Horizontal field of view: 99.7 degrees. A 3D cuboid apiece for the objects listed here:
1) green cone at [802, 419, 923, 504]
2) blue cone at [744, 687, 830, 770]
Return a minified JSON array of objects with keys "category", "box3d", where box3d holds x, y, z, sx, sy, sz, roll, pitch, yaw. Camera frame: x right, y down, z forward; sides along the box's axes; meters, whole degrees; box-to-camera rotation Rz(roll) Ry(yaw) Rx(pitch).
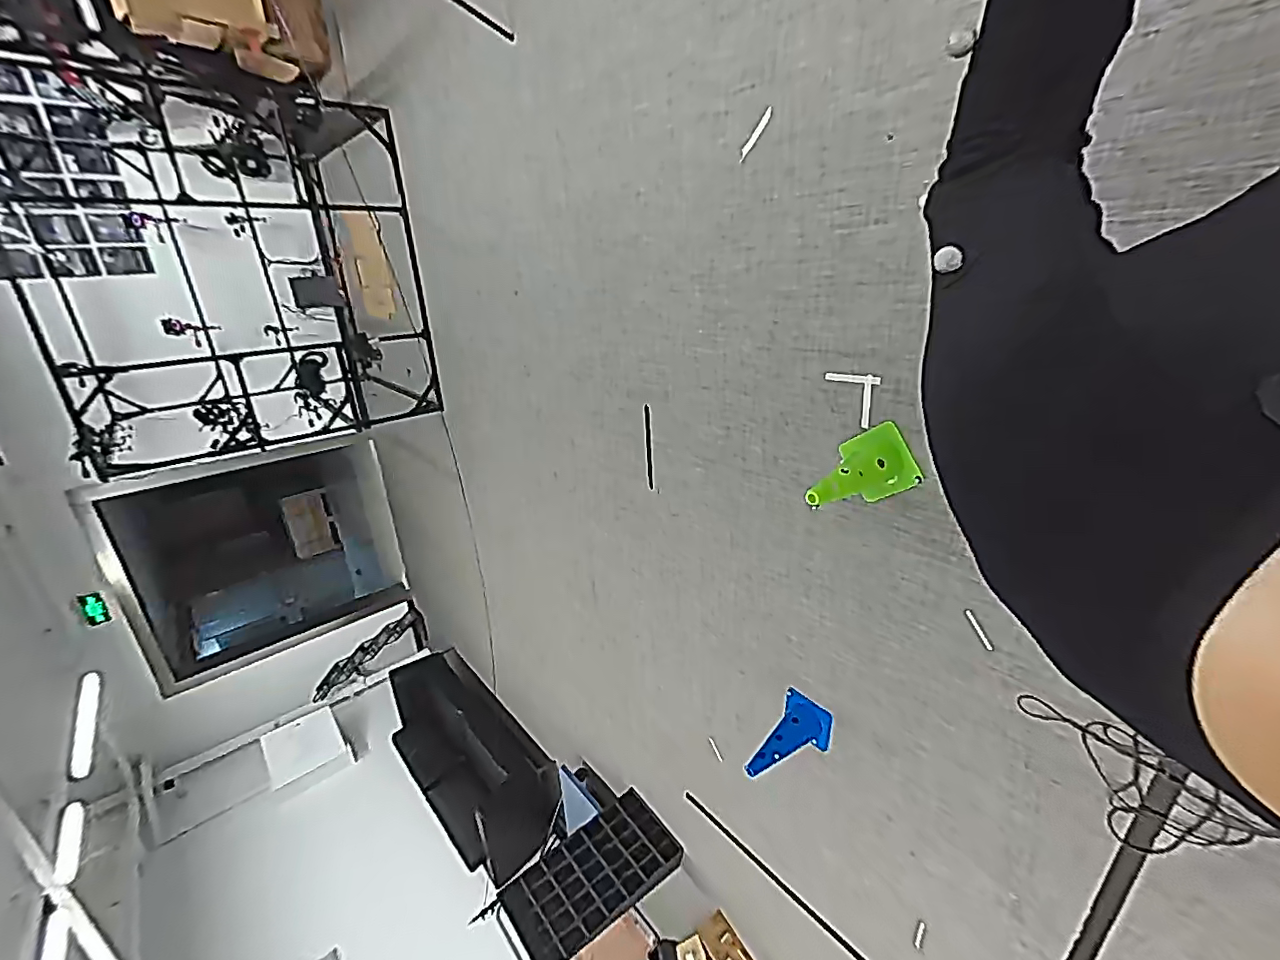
[{"category":"green cone","box3d":[0.576,-0.012,1.499,0.202,0.368,0.200,-37,76,54]},{"category":"blue cone","box3d":[0.536,0.979,2.043,0.192,0.380,0.193,27,126,45]}]
